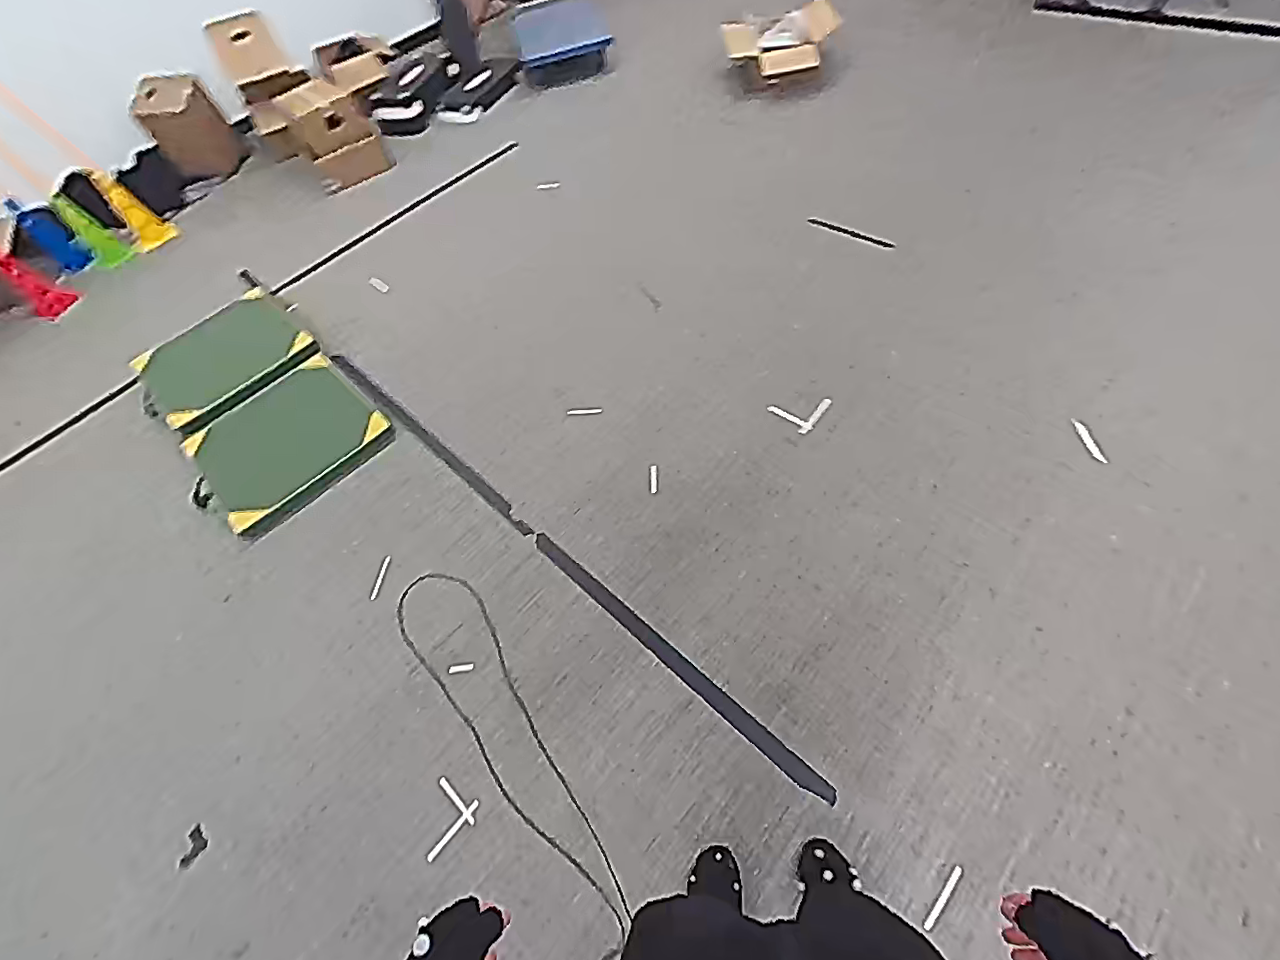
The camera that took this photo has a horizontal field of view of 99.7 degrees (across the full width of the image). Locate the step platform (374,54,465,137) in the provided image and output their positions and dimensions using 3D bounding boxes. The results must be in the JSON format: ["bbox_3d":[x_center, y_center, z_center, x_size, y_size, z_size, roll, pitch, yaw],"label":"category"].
[{"bbox_3d":[-1.398,-2.470,3.450,0.286,0.204,0.684,8,60,13],"label":"step platform"}]
